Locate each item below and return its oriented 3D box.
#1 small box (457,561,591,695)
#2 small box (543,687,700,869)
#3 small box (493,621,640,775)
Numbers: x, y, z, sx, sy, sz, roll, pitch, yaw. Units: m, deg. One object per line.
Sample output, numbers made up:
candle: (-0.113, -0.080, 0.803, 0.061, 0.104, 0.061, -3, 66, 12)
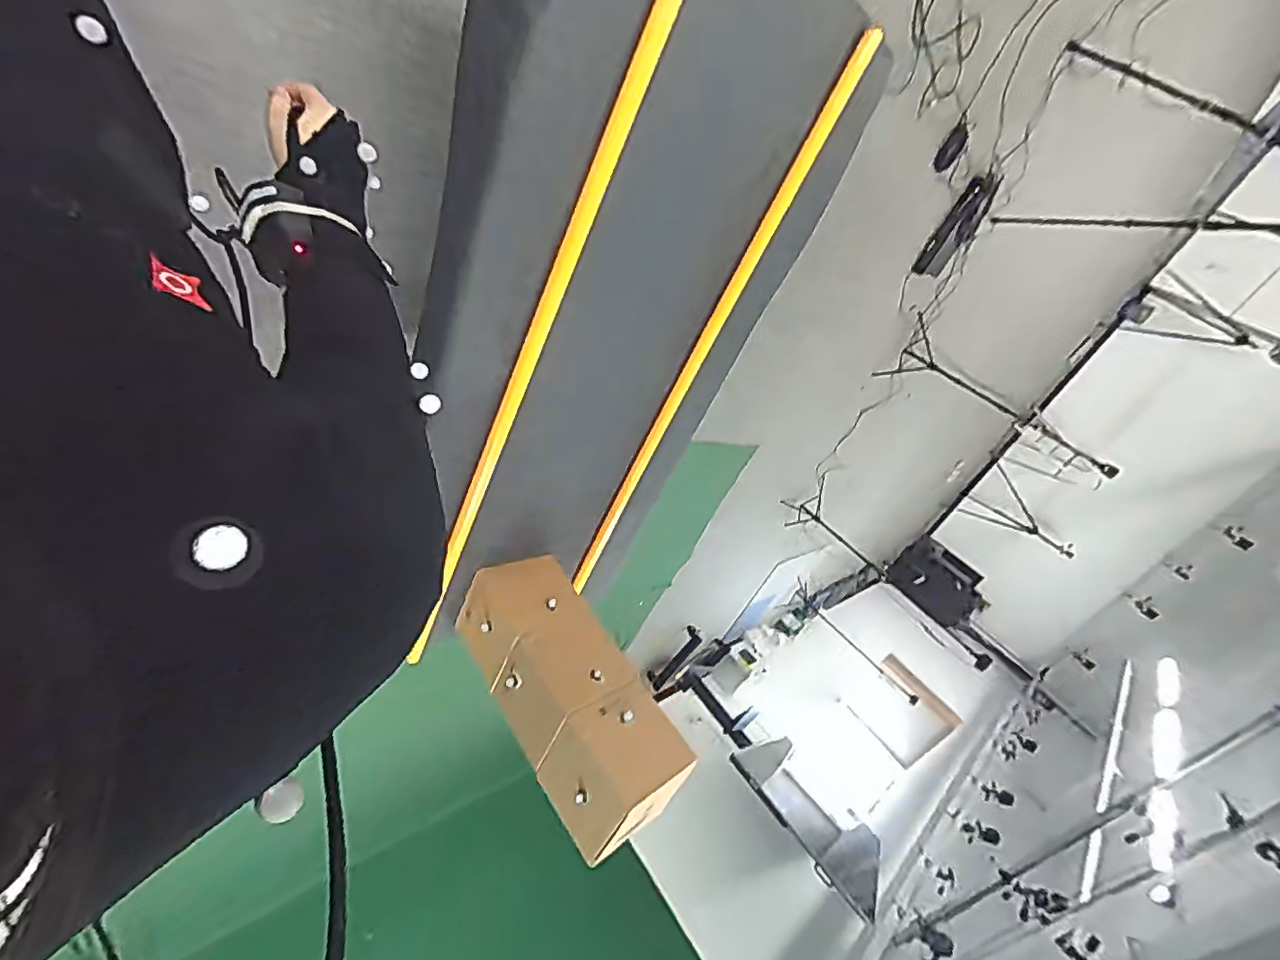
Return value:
small box: (-0.235, 0.283, 1.069, 0.179, 0.176, 0.168, -5, 131, -47)
small box: (-0.039, 0.485, 0.903, 0.168, 0.176, 0.179, -8, 131, -47)
small box: (-0.137, 0.386, 0.989, 0.179, 0.176, 0.168, -7, 131, -46)
